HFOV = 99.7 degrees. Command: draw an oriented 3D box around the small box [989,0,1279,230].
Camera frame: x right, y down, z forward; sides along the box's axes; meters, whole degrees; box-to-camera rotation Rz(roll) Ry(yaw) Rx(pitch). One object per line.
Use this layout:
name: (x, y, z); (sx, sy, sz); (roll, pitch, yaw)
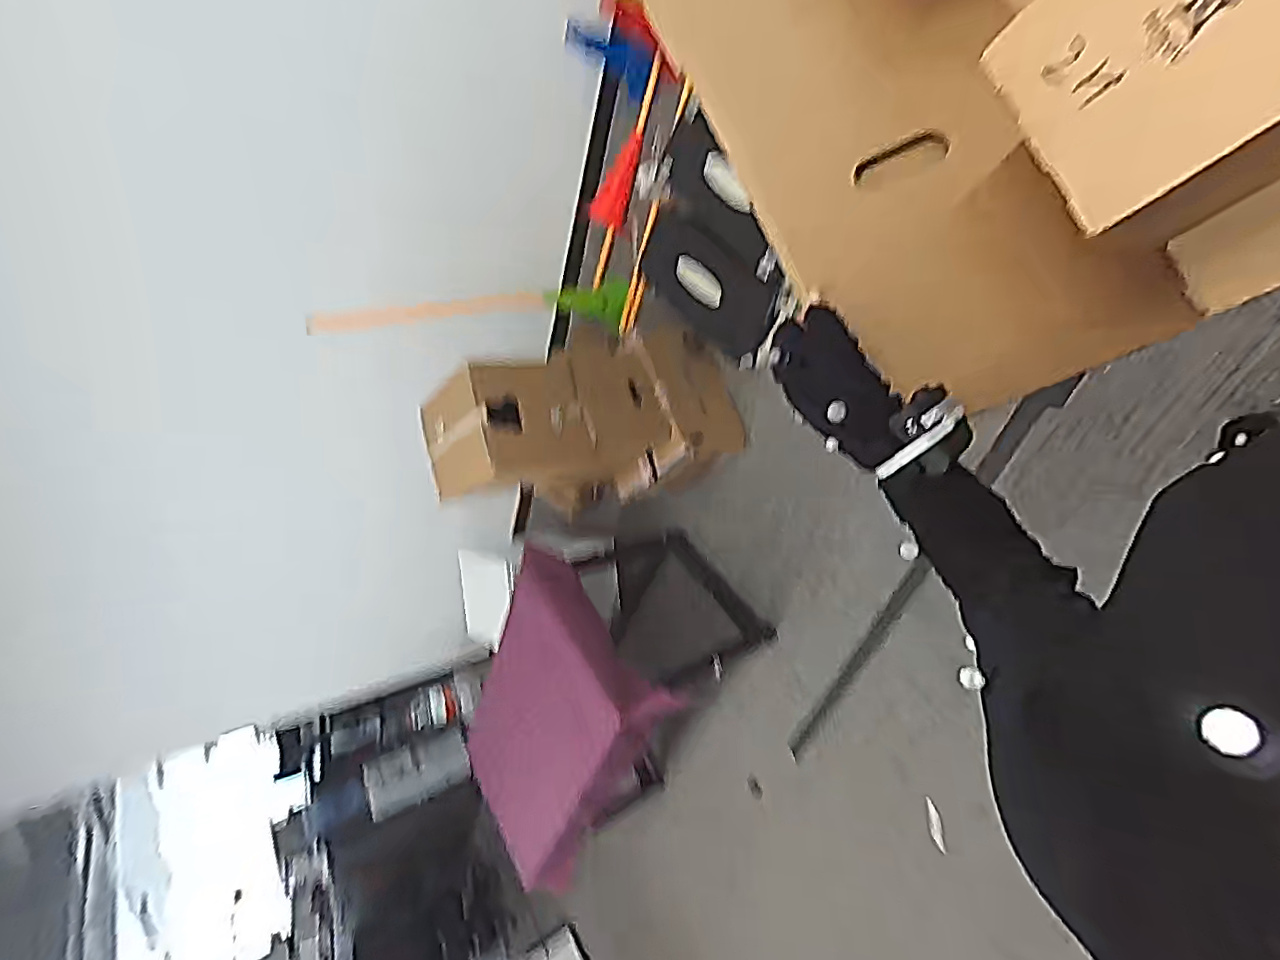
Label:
small box: (0.393, -0.297, 0.365); (0.179, 0.176, 0.168); (-35, 72, 57)
